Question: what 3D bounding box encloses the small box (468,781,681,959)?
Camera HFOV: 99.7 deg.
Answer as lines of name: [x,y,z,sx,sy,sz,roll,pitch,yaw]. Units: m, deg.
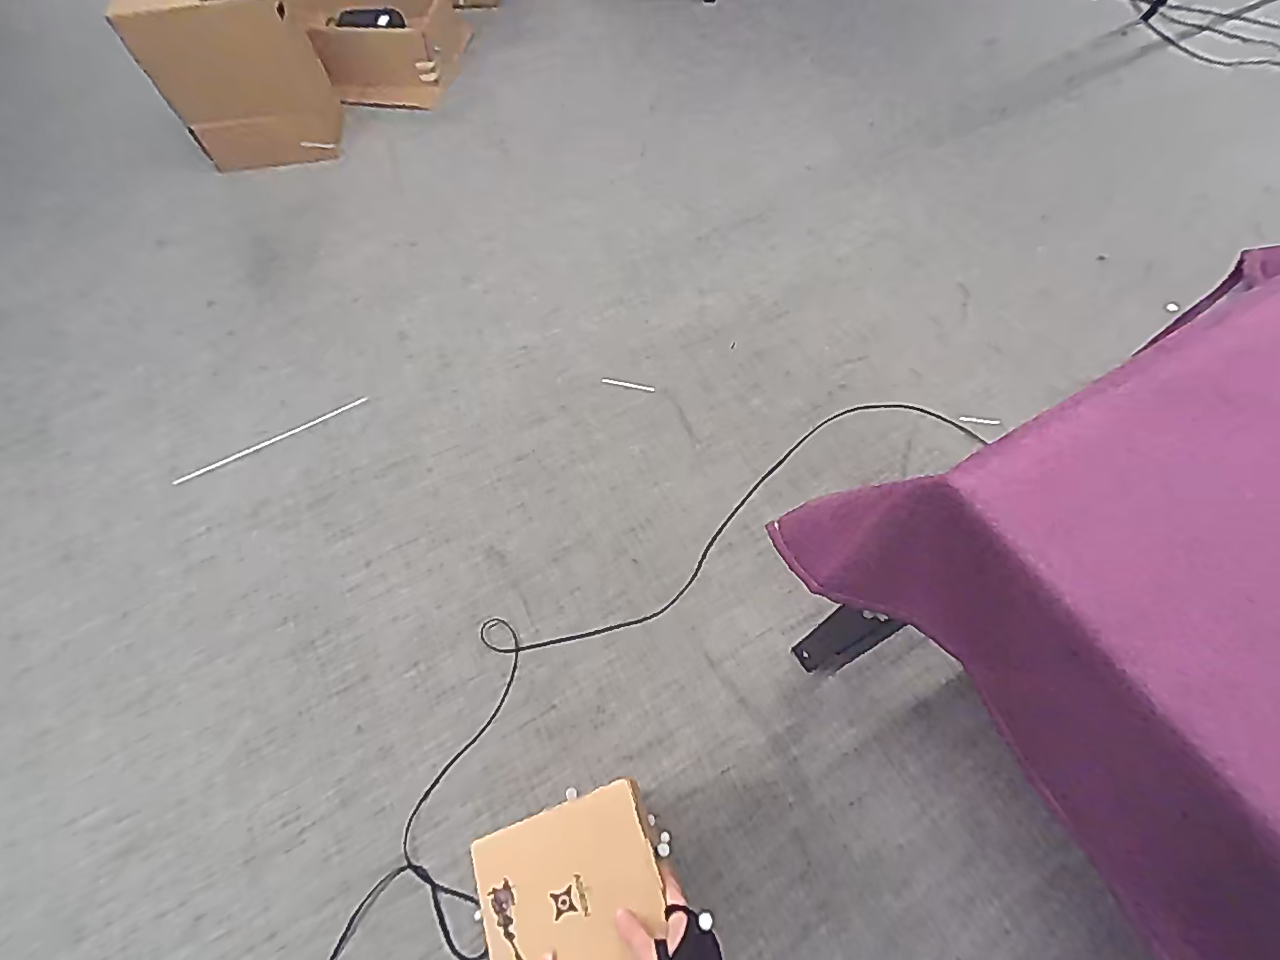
small box: [-0.069,0.450,0.599,0.179,0.176,0.168,-18,62,-9]
